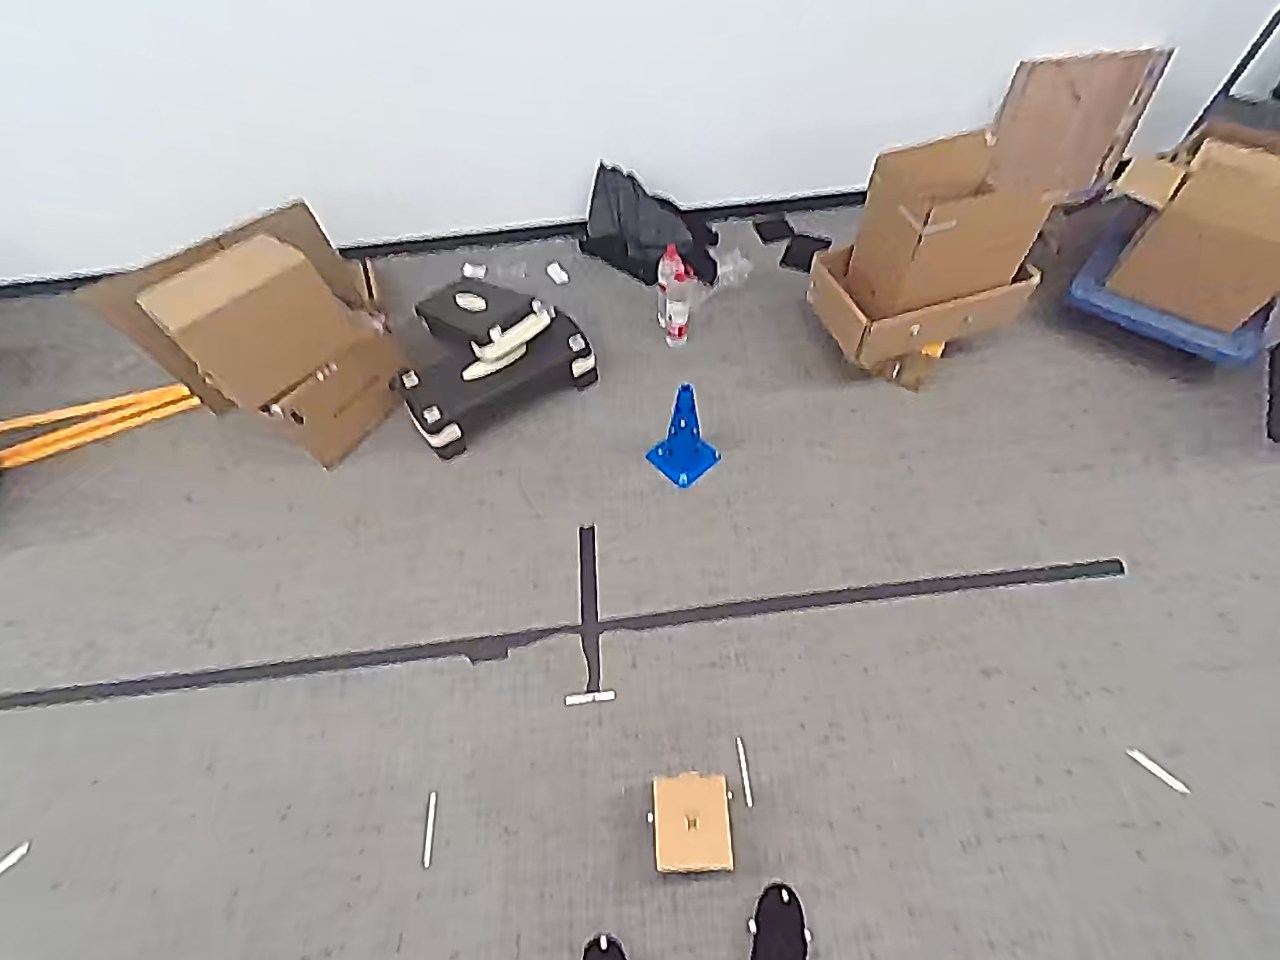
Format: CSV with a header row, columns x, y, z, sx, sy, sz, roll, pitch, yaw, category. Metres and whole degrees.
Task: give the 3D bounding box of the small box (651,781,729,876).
x,y,z,sx,sy,sz,roll,pitch,yaw,category
0.113,0.805,1.257,0.168,0.176,0.179,-3,57,2,small box
